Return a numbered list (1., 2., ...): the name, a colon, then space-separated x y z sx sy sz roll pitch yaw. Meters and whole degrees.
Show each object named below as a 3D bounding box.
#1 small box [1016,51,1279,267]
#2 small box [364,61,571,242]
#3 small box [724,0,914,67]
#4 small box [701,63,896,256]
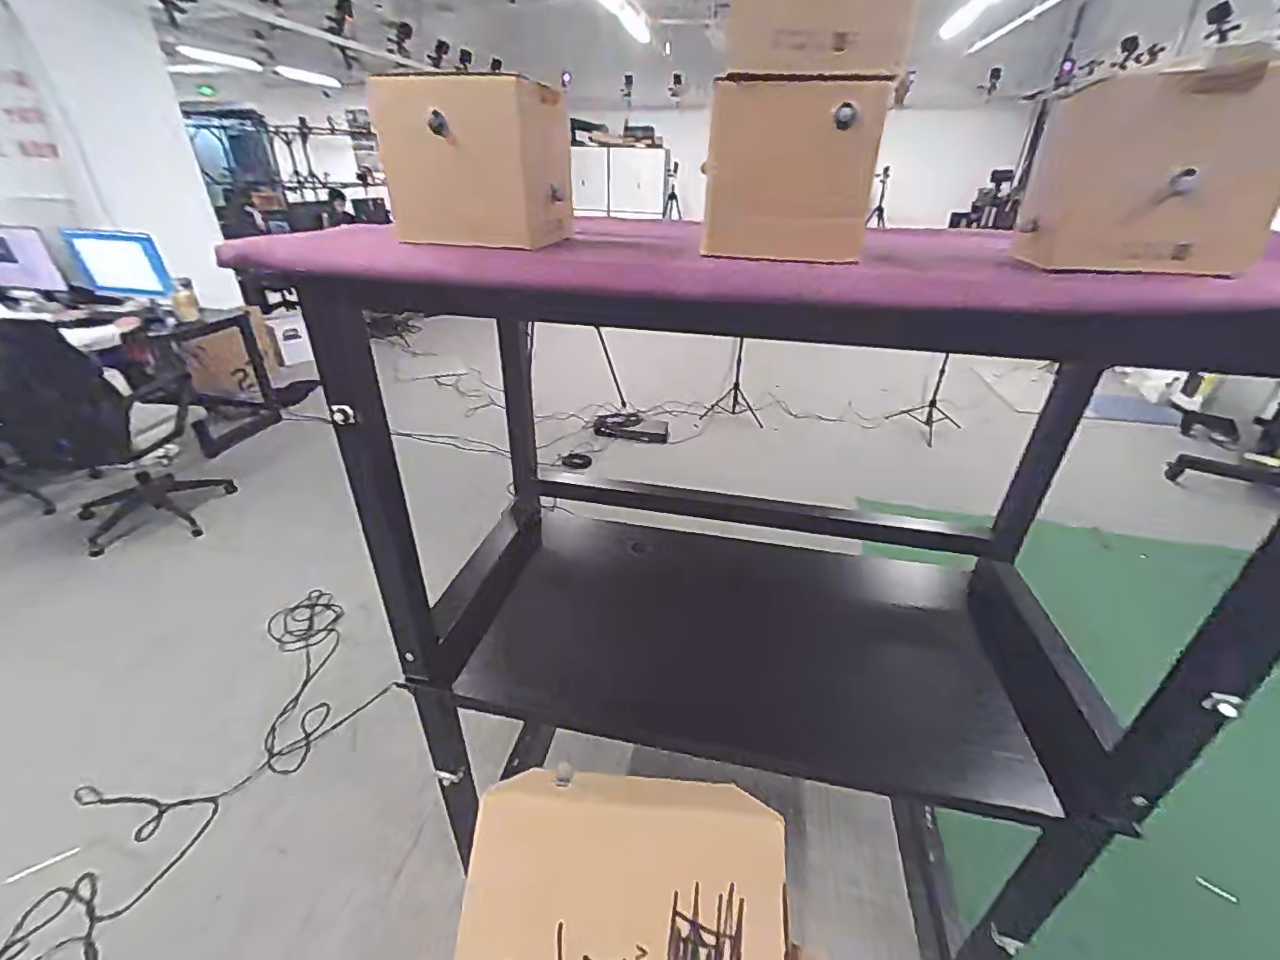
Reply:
1. small box: 0.522 -0.317 0.555 0.168 0.176 0.179 9 29 17
2. small box: -0.192 -0.389 0.658 0.179 0.176 0.168 7 32 9
3. small box: 0.177 -0.495 0.537 0.168 0.176 0.179 7 28 7
4. small box: 0.167 -0.353 0.616 0.179 0.176 0.168 7 29 10
